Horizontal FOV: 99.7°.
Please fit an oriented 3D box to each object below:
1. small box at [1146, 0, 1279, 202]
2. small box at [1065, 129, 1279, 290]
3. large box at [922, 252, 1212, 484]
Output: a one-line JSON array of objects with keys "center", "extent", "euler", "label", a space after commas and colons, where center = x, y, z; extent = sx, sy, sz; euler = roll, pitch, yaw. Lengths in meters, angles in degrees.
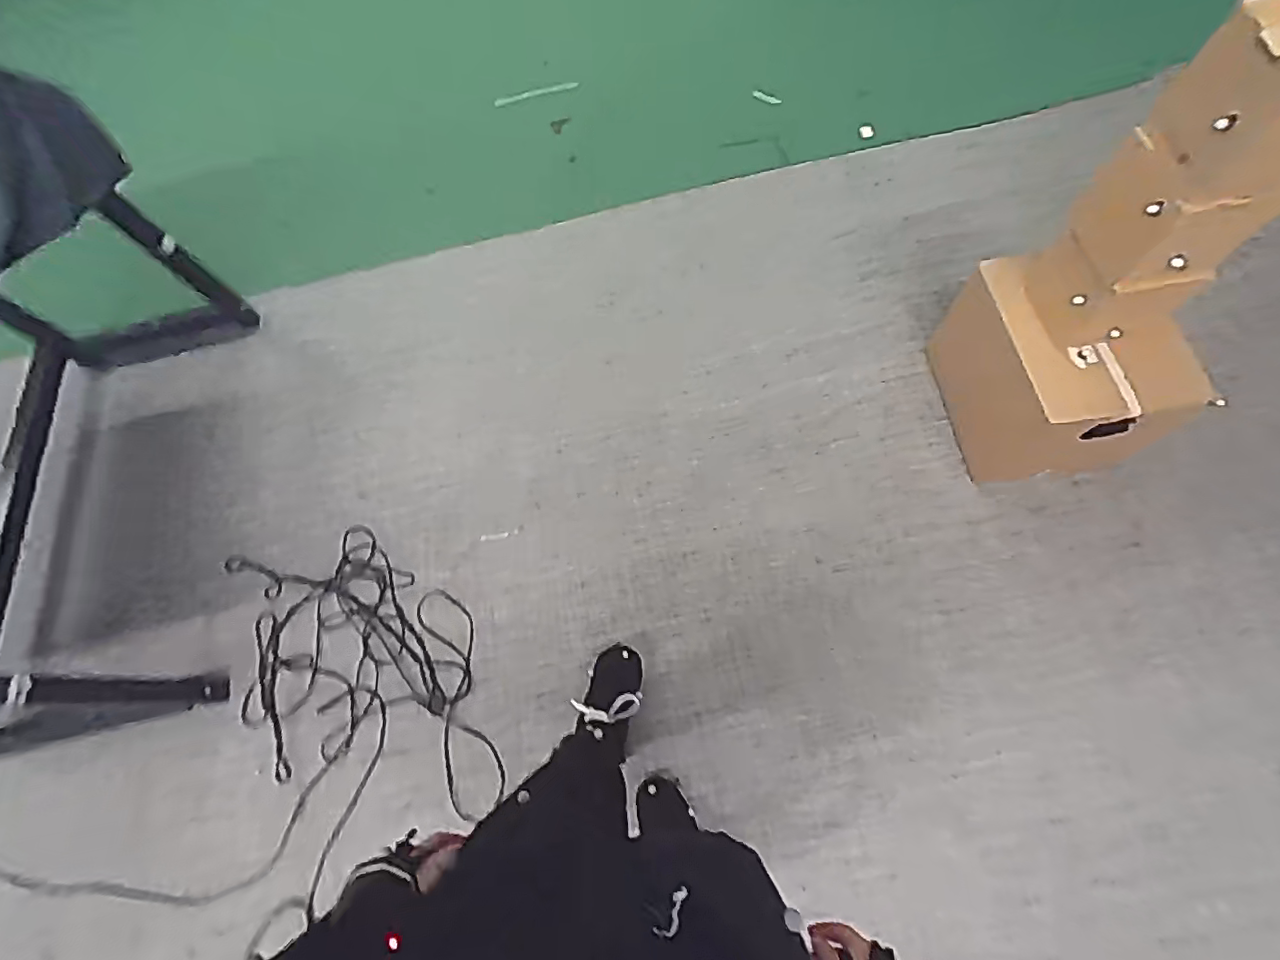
[{"center": [0.844, -0.502, 0.724], "extent": [0.179, 0.176, 0.168], "euler": [-7, 70, 2], "label": "small box"}, {"center": [0.848, -0.441, 0.875], "extent": [0.168, 0.176, 0.179], "euler": [-10, 68, 2], "label": "small box"}, {"center": [0.911, -0.244, 1.229], "extent": [0.320, 0.320, 0.408], "euler": [-9, 69, 3], "label": "large box"}]
